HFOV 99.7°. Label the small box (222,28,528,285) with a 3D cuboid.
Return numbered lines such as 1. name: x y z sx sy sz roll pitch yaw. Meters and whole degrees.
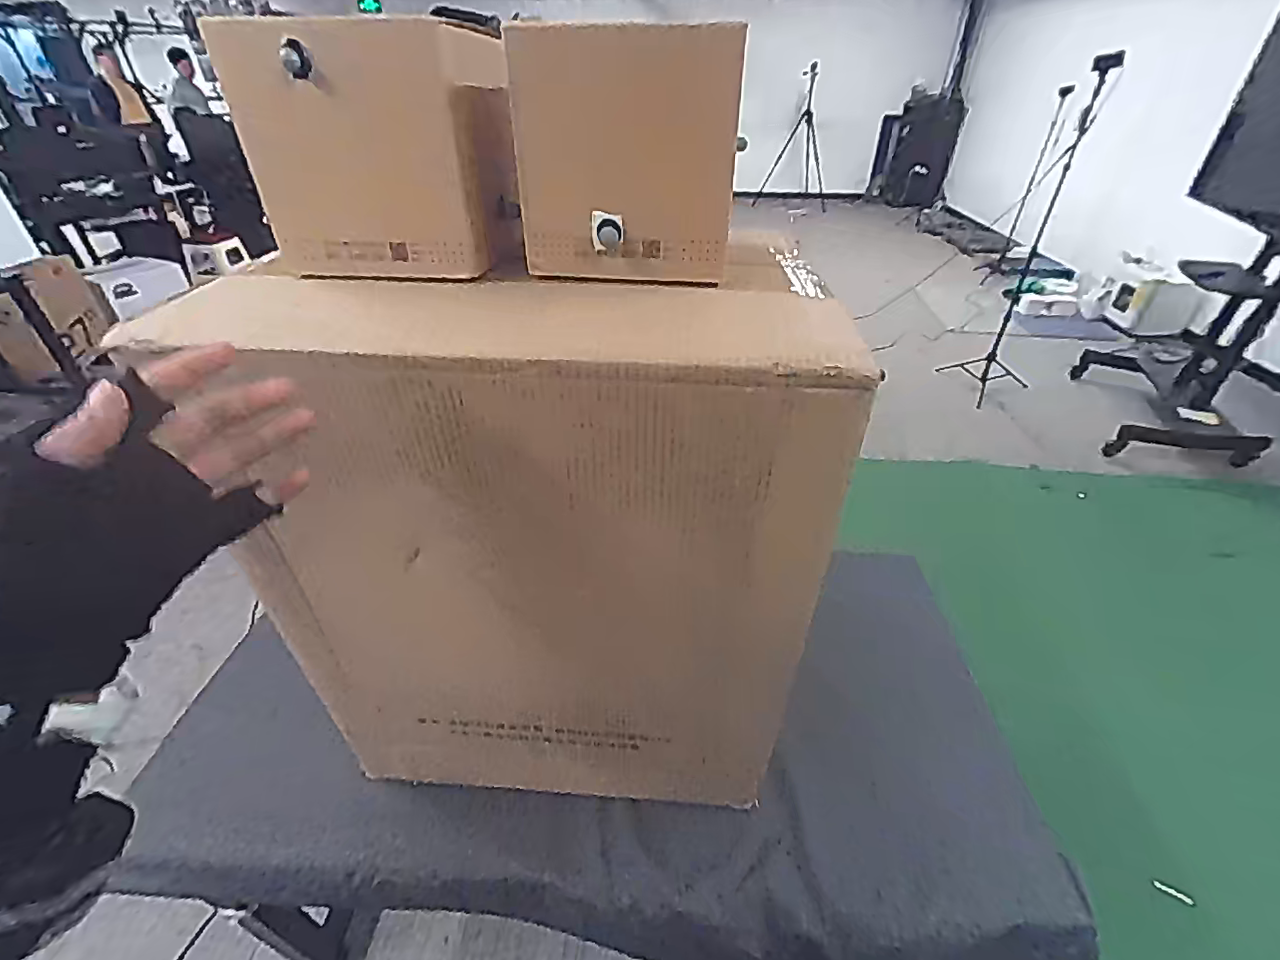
1. small box: -0.204 -0.283 0.482 0.168 0.176 0.179 2 34 5
